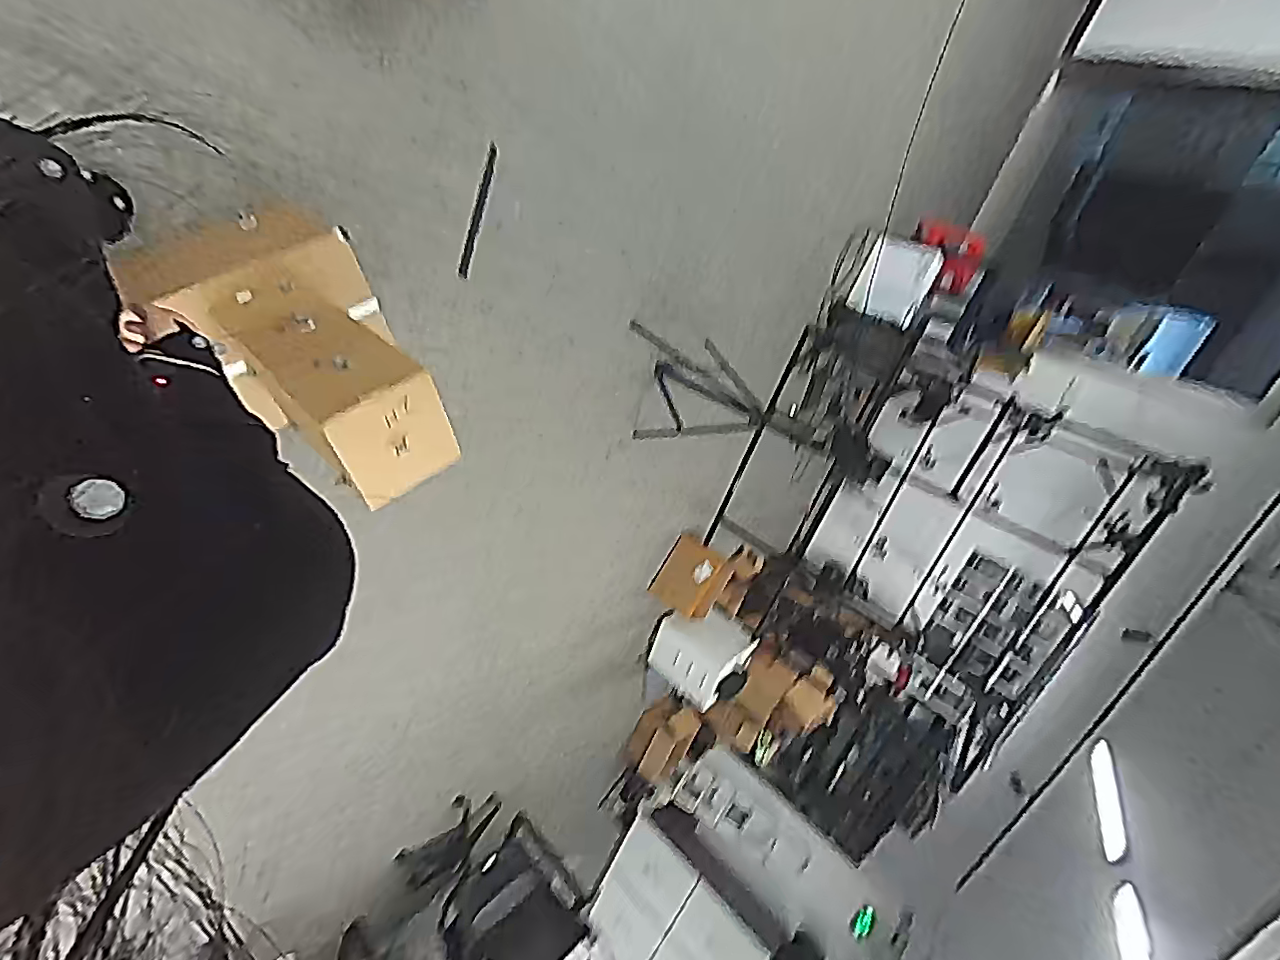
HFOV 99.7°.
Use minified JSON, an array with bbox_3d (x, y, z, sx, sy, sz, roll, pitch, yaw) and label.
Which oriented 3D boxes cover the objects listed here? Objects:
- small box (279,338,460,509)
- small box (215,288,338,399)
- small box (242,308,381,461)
[{"bbox_3d":[-0.417,-0.093,0.849,0.168,0.176,0.179,-38,145,-29],"label":"small box"},{"bbox_3d":[-0.651,-0.244,1.023,0.168,0.176,0.179,-38,145,-27],"label":"small box"},{"bbox_3d":[-0.537,-0.170,0.934,0.168,0.176,0.179,-38,143,-30],"label":"small box"}]
